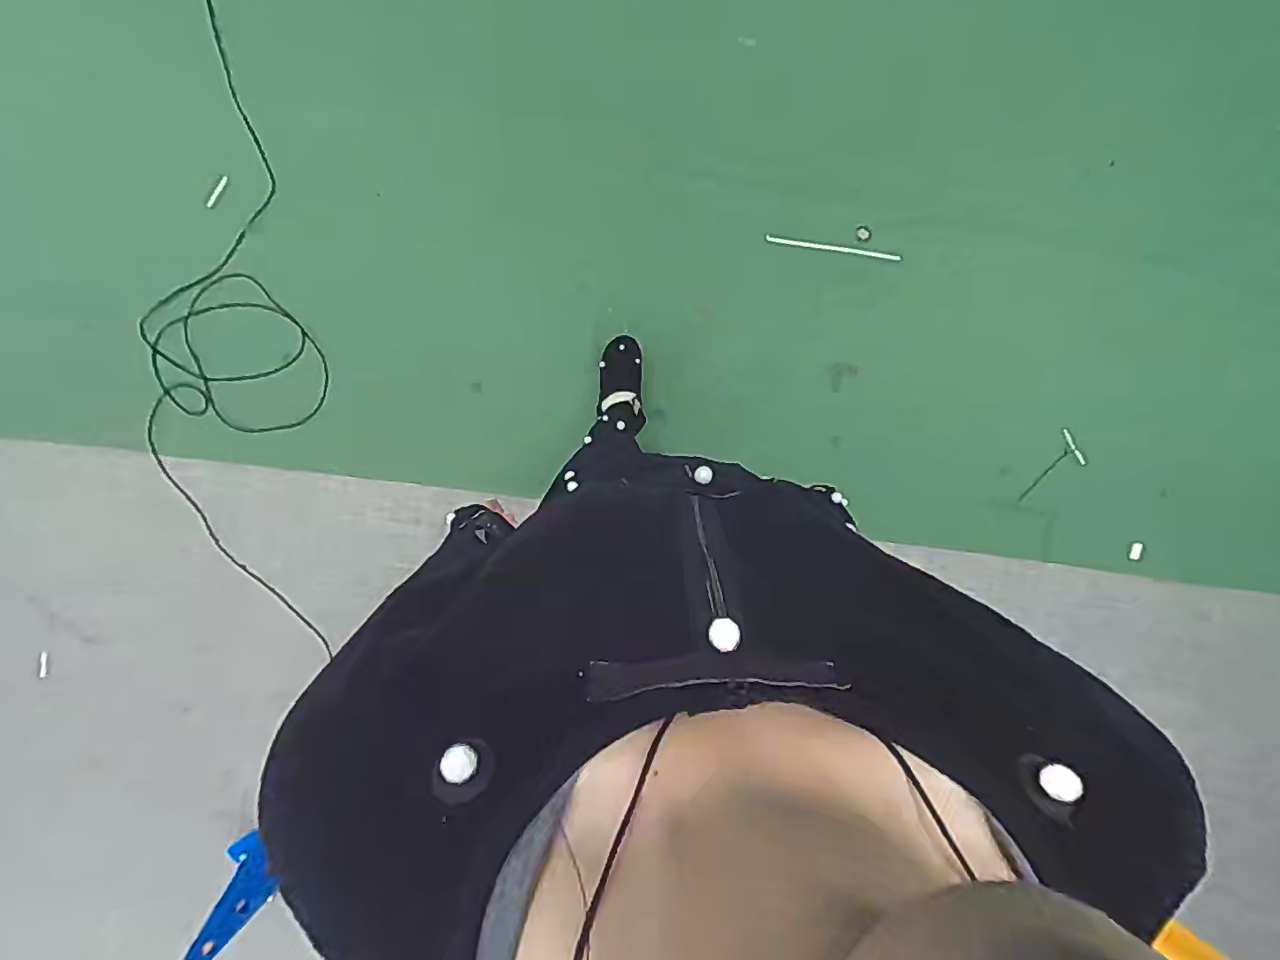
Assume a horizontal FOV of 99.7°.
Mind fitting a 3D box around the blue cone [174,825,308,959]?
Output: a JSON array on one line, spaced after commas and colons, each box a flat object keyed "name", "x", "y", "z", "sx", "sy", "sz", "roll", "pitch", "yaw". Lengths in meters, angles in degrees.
[{"name": "blue cone", "x": -1.045, "y": 1.107, "z": 1.359, "sx": 0.193, "sy": 0.380, "sz": 0.192, "roll": -37, "pitch": 98, "yaw": 3}]
